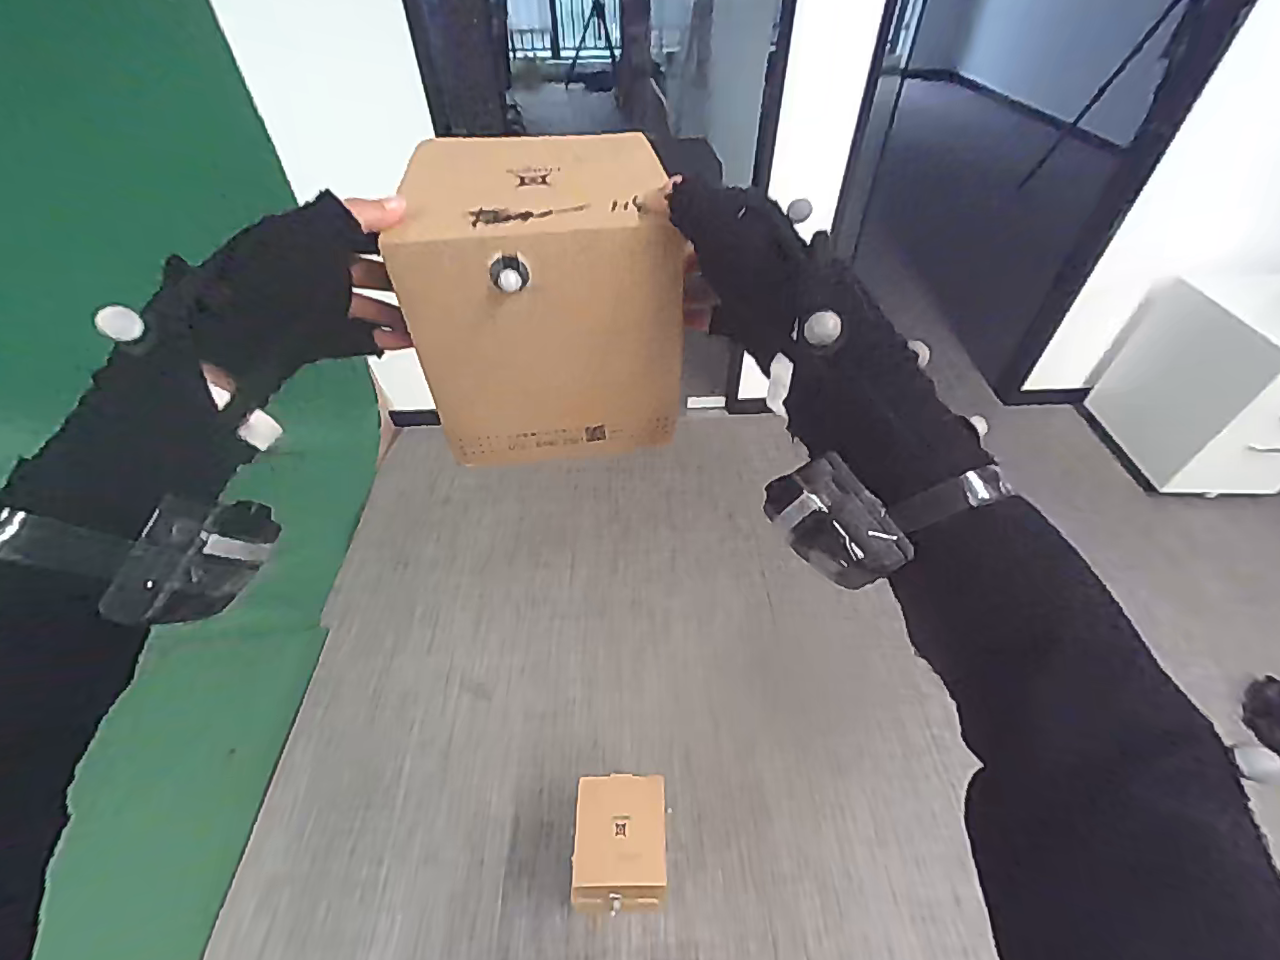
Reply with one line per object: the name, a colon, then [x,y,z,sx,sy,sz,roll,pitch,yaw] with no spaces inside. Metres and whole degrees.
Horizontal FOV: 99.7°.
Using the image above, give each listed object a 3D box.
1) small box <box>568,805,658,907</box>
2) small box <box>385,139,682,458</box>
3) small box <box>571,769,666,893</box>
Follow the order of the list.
small box: [-0.051,0.800,1.158,0.179,0.176,0.168,-1,46,1]
small box: [-0.067,-0.139,0.411,0.168,0.176,0.179,-7,45,-5]
small box: [-0.037,0.682,1.049,0.168,0.176,0.179,-2,47,0]
